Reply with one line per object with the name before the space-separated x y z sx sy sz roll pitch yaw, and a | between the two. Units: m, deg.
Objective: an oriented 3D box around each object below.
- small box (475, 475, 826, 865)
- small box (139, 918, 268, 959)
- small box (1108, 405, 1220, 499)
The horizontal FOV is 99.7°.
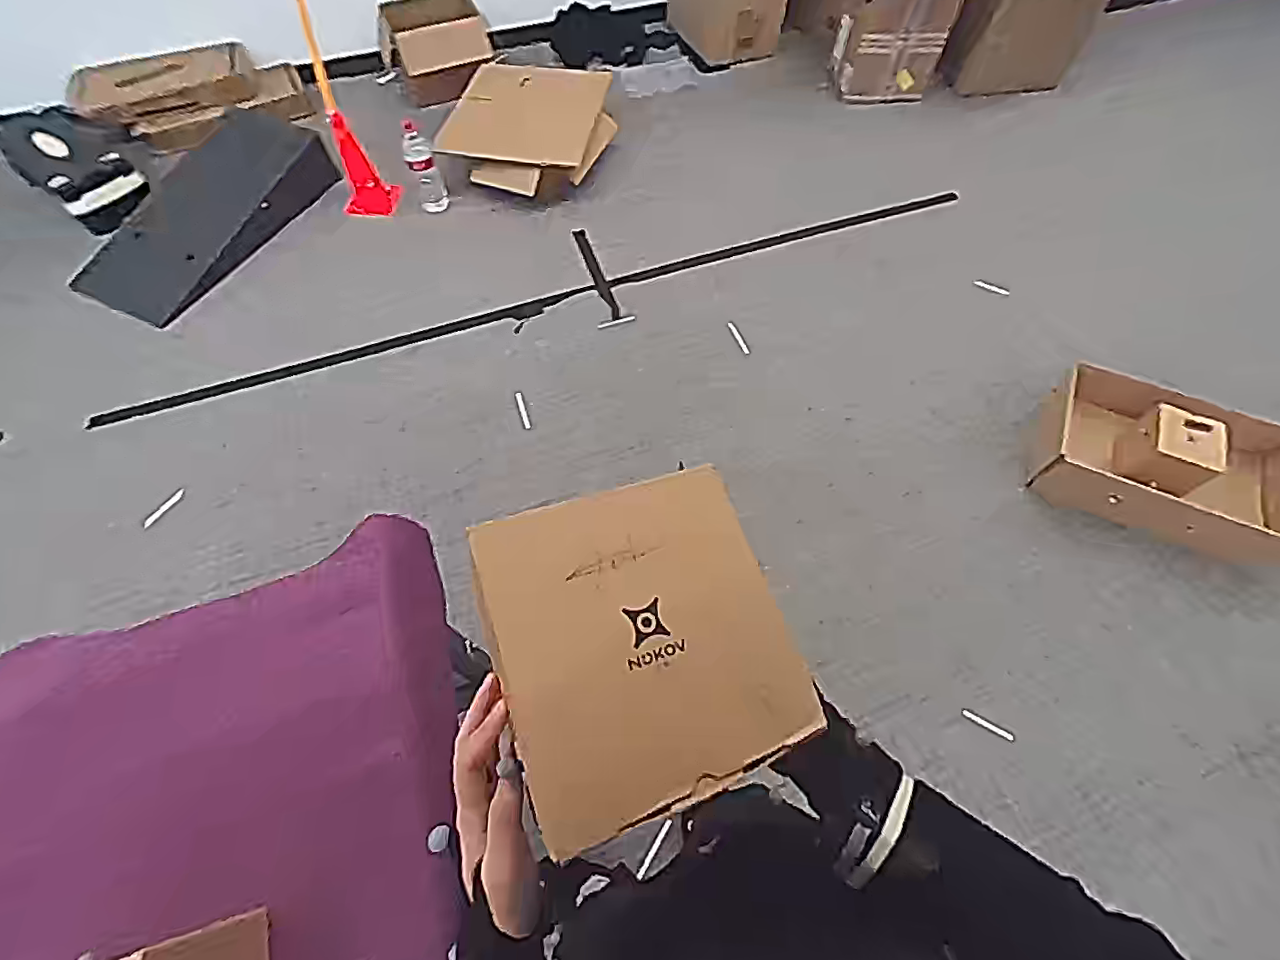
small box | -0.012 0.122 0.382 0.168 0.176 0.179 -14 70 -21
small box | -0.446 0.513 0.455 0.179 0.176 0.168 -18 63 -9
small box | 1.496 -0.076 1.553 0.168 0.176 0.179 23 64 12
